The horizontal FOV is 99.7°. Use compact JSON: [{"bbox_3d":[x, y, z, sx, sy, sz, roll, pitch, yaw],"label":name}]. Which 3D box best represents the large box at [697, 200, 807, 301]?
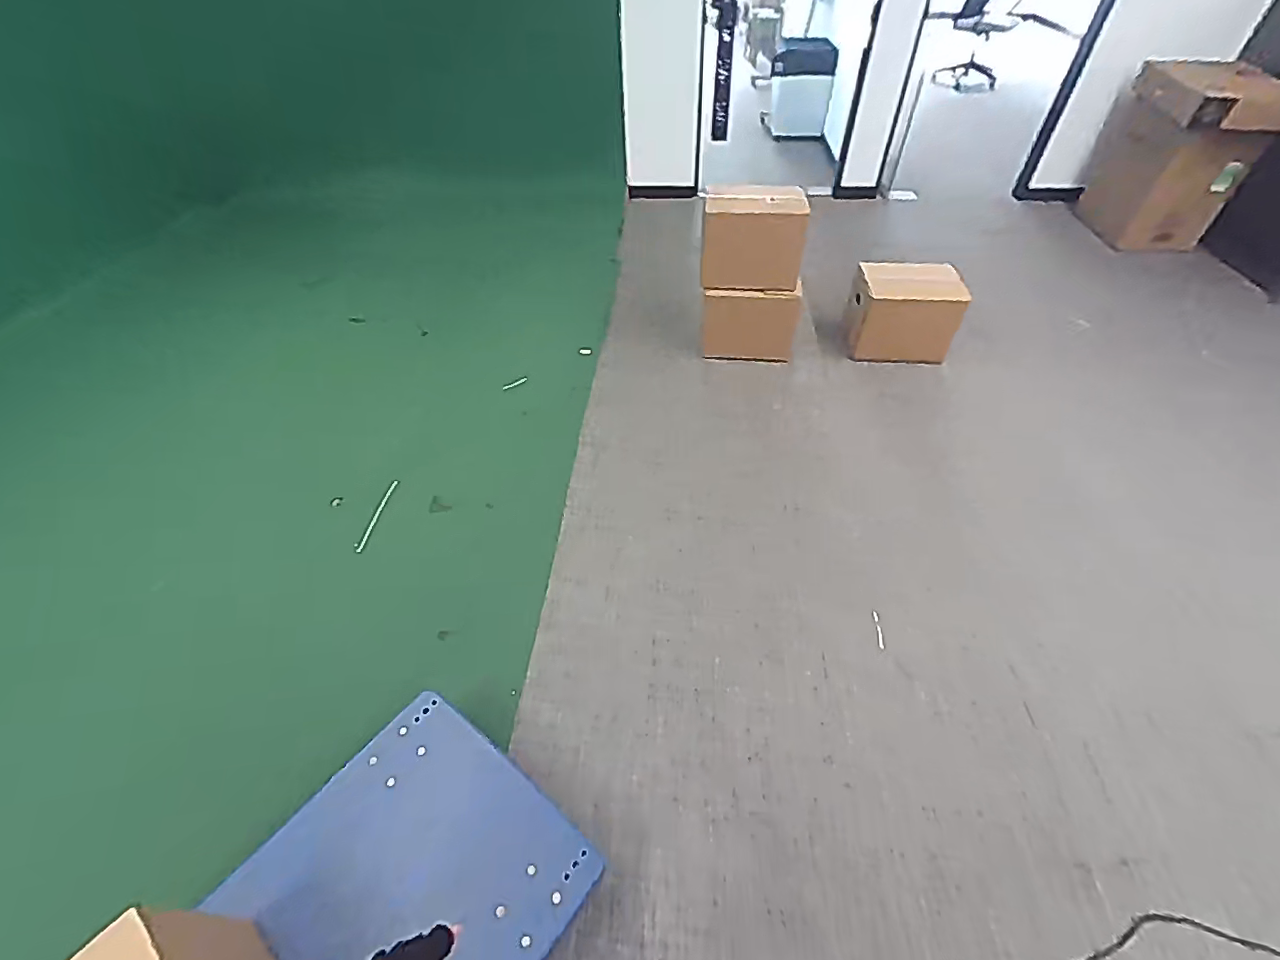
[{"bbox_3d":[0.450,-0.966,2.276,0.408,0.320,0.320,4,44,4],"label":"large box"}]
